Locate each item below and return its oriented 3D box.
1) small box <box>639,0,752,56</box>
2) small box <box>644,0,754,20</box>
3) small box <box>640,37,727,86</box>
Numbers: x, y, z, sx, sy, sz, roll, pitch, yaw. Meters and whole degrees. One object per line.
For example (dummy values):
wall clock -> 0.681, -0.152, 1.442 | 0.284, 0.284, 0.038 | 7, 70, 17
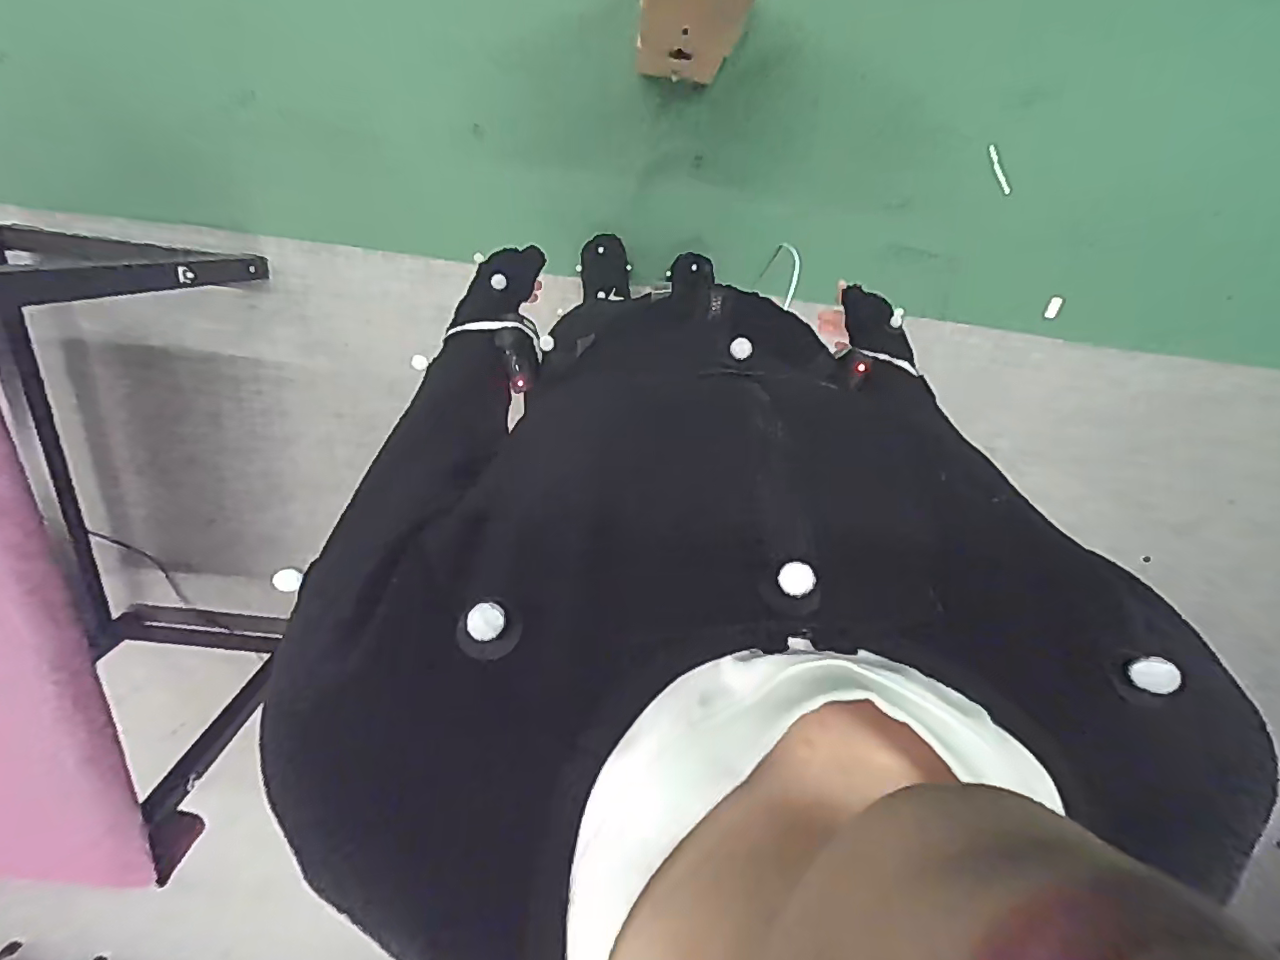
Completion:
small box -> 0.098, -0.844, 0.902 | 0.179, 0.176, 0.168 | 8, 111, -5
small box -> 0.096, -0.783, 0.755 | 0.179, 0.176, 0.168 | 5, 113, -3
small box -> 0.091, -0.908, 1.056 | 0.168, 0.176, 0.179 | 7, 113, -3
